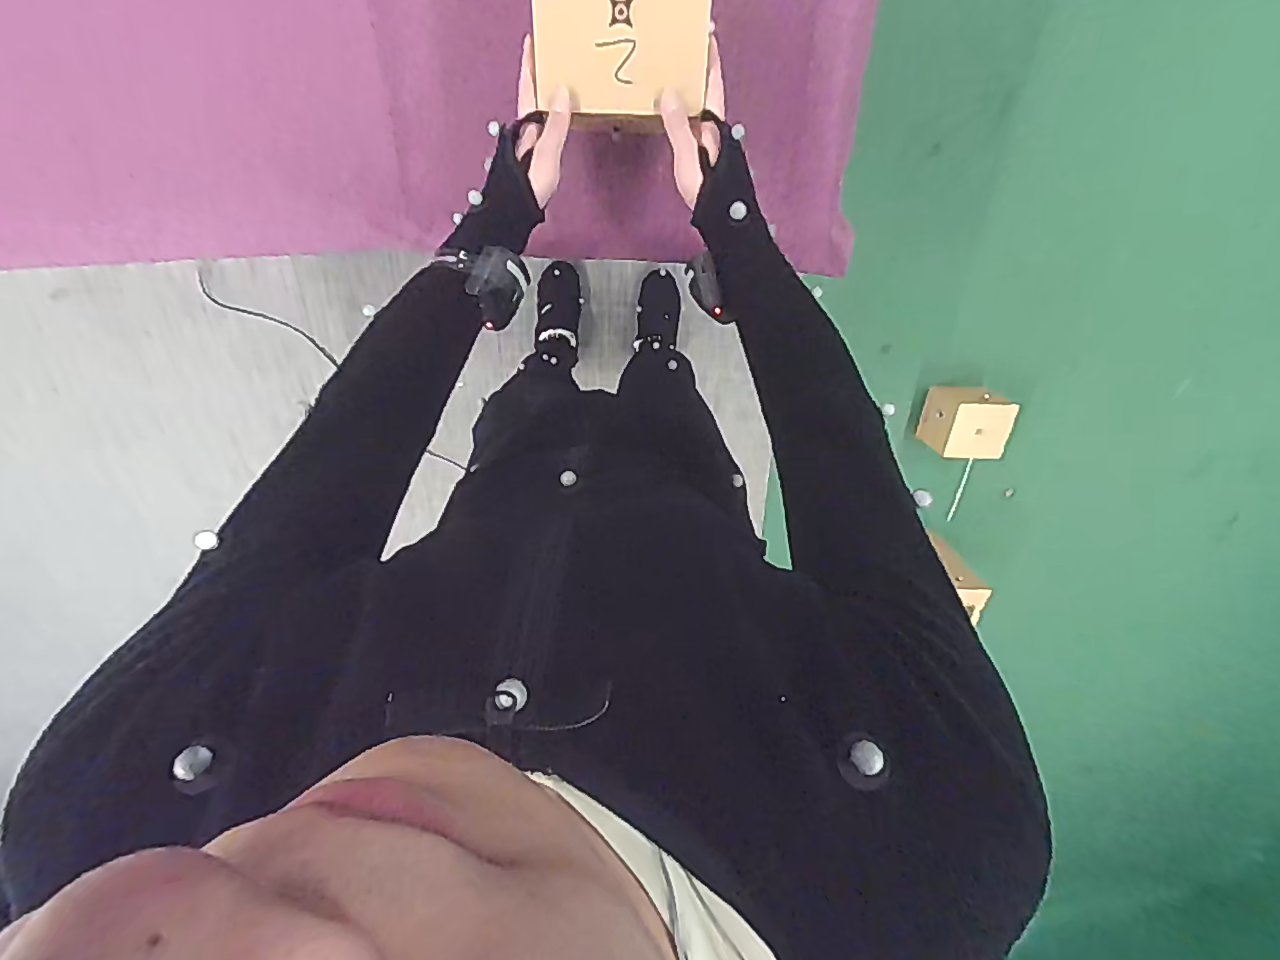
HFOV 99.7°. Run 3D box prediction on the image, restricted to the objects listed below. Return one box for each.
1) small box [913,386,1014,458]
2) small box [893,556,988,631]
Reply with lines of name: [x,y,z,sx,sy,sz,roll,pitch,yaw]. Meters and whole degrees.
small box: [0.945,-0.175,1.601,0.179,0.176,0.168,0,117,-5]
small box: [0.927,0.350,1.685,0.179,0.176,0.168,1,117,-4]
